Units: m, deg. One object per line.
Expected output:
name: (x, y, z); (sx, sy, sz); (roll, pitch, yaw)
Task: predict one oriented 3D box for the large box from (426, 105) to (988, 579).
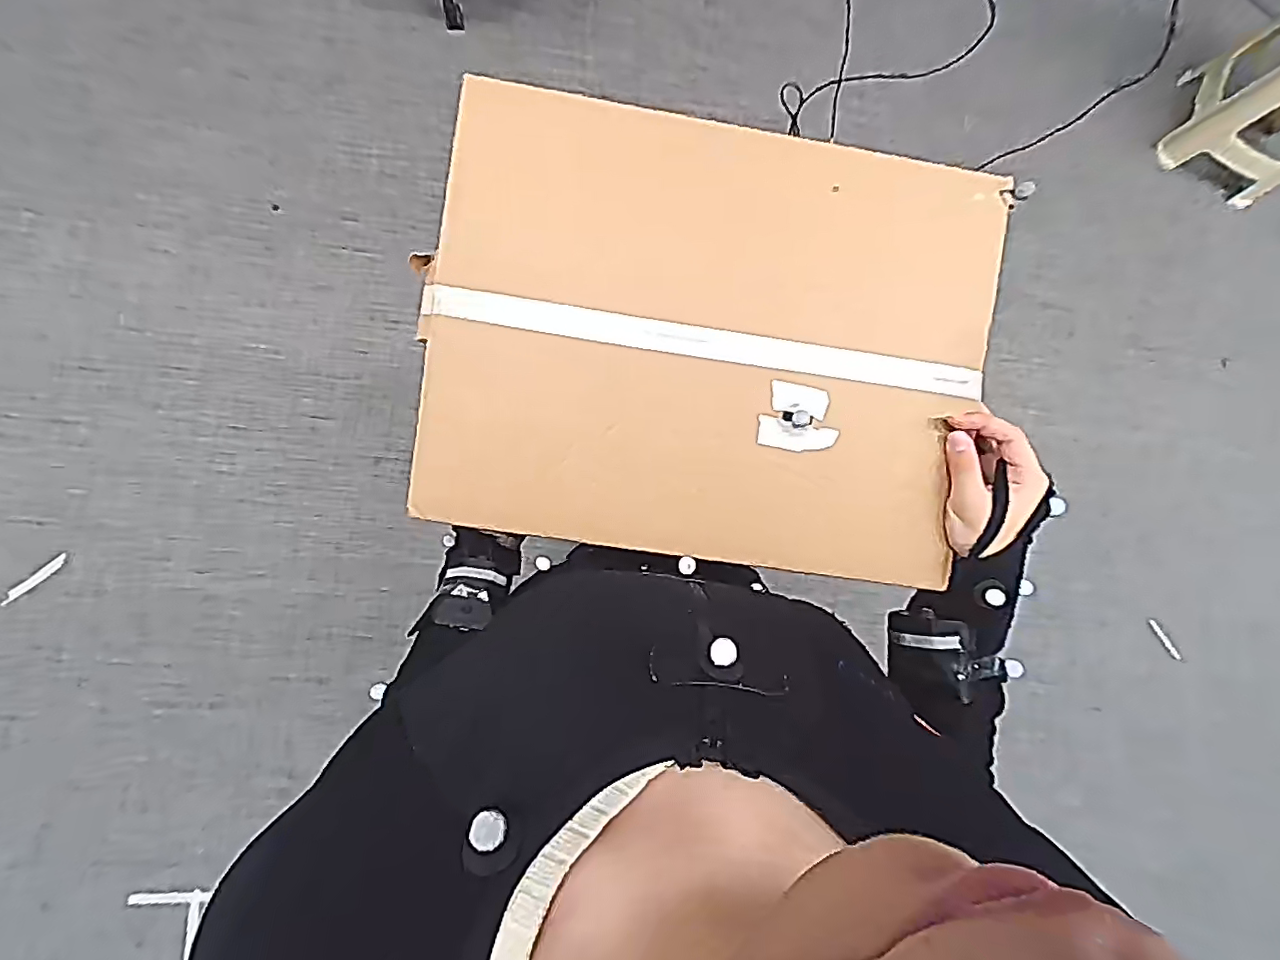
large box: (0.043, -0.100, 0.551); (0.408, 0.320, 0.320); (7, 92, -5)
